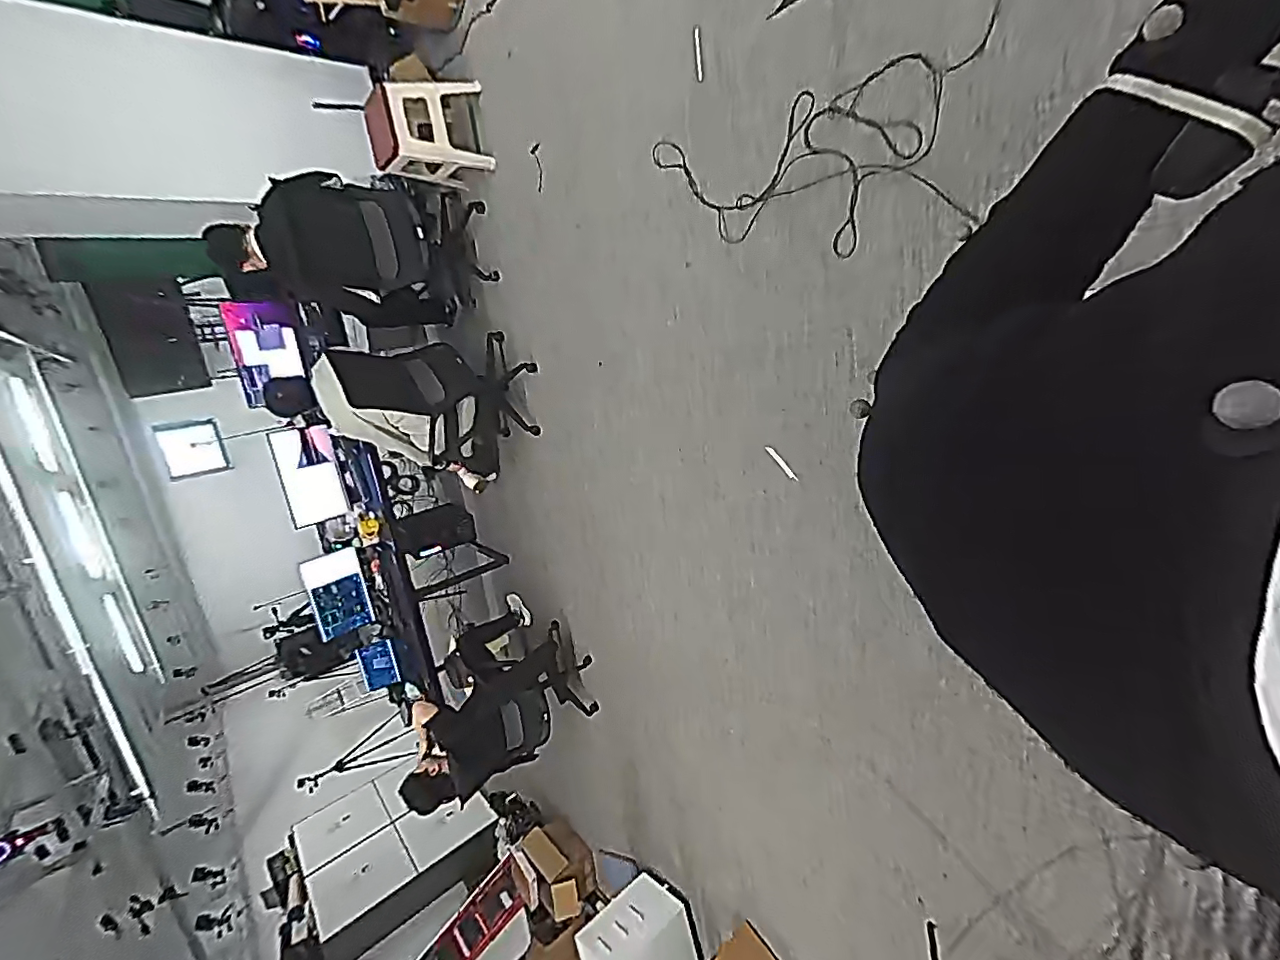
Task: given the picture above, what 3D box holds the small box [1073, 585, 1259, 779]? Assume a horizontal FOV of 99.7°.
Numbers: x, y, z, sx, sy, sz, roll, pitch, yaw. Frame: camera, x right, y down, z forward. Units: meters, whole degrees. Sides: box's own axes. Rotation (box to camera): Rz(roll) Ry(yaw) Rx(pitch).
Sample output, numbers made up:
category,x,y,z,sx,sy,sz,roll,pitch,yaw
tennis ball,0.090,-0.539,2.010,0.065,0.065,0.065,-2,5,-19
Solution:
category,x,y,z,sx,sy,sz,roll,pitch,yaw
small box,0.741,0.267,0.766,0.168,0.176,0.179,6,108,52
